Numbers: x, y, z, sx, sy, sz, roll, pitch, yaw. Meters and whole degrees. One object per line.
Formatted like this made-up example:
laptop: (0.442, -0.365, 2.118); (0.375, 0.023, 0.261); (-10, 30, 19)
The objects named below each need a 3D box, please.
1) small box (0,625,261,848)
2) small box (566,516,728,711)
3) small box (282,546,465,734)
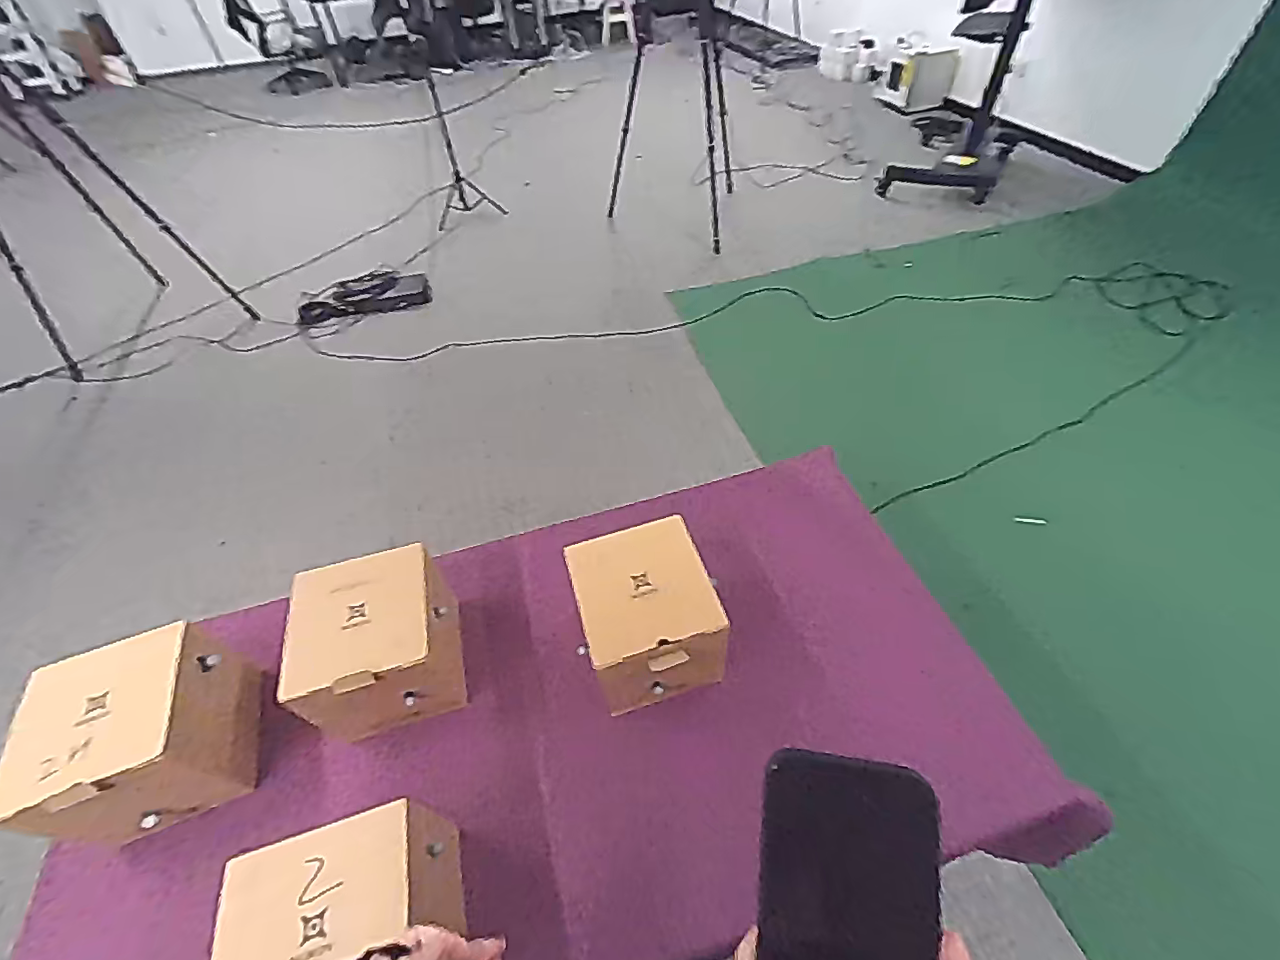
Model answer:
small box: (-0.603, 0.316, 0.668); (0.168, 0.176, 0.179); (-20, 51, -12)
small box: (0.006, 0.183, 0.738); (0.168, 0.176, 0.179); (-16, 50, -9)
small box: (-0.344, 0.223, 0.731); (0.168, 0.176, 0.179); (-14, 50, -9)
